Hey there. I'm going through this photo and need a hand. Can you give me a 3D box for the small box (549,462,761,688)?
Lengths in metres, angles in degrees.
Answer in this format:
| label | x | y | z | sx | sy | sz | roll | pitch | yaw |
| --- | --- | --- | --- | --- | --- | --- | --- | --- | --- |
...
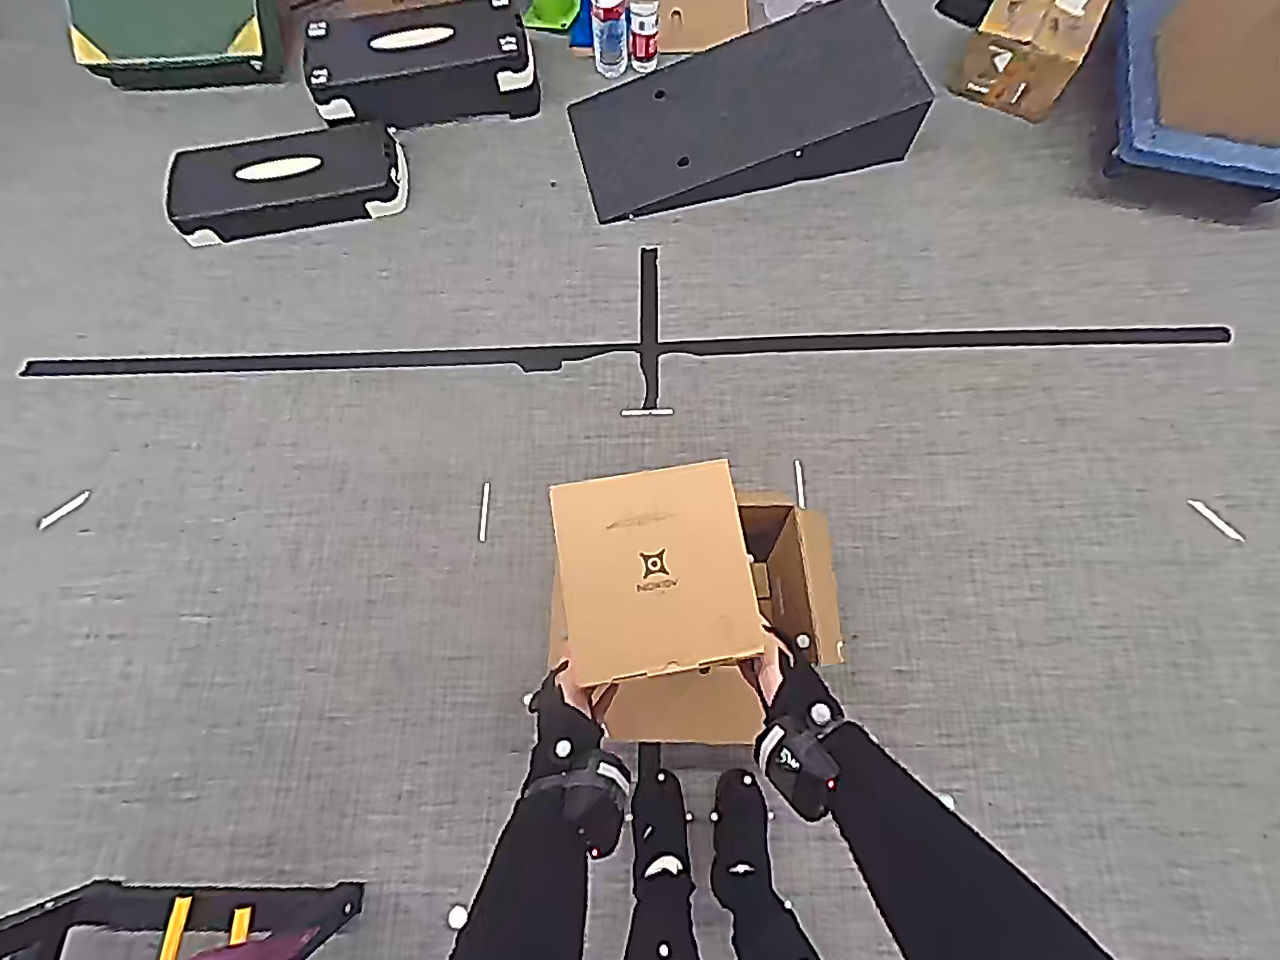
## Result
| label | x | y | z | sx | sy | sz | roll | pitch | yaw |
| --- | --- | --- | --- | --- | --- | --- | --- | --- | --- |
| small box | 0.009 | 0.094 | 0.545 | 0.168 | 0.176 | 0.179 | -8 | 77 | -5 |
